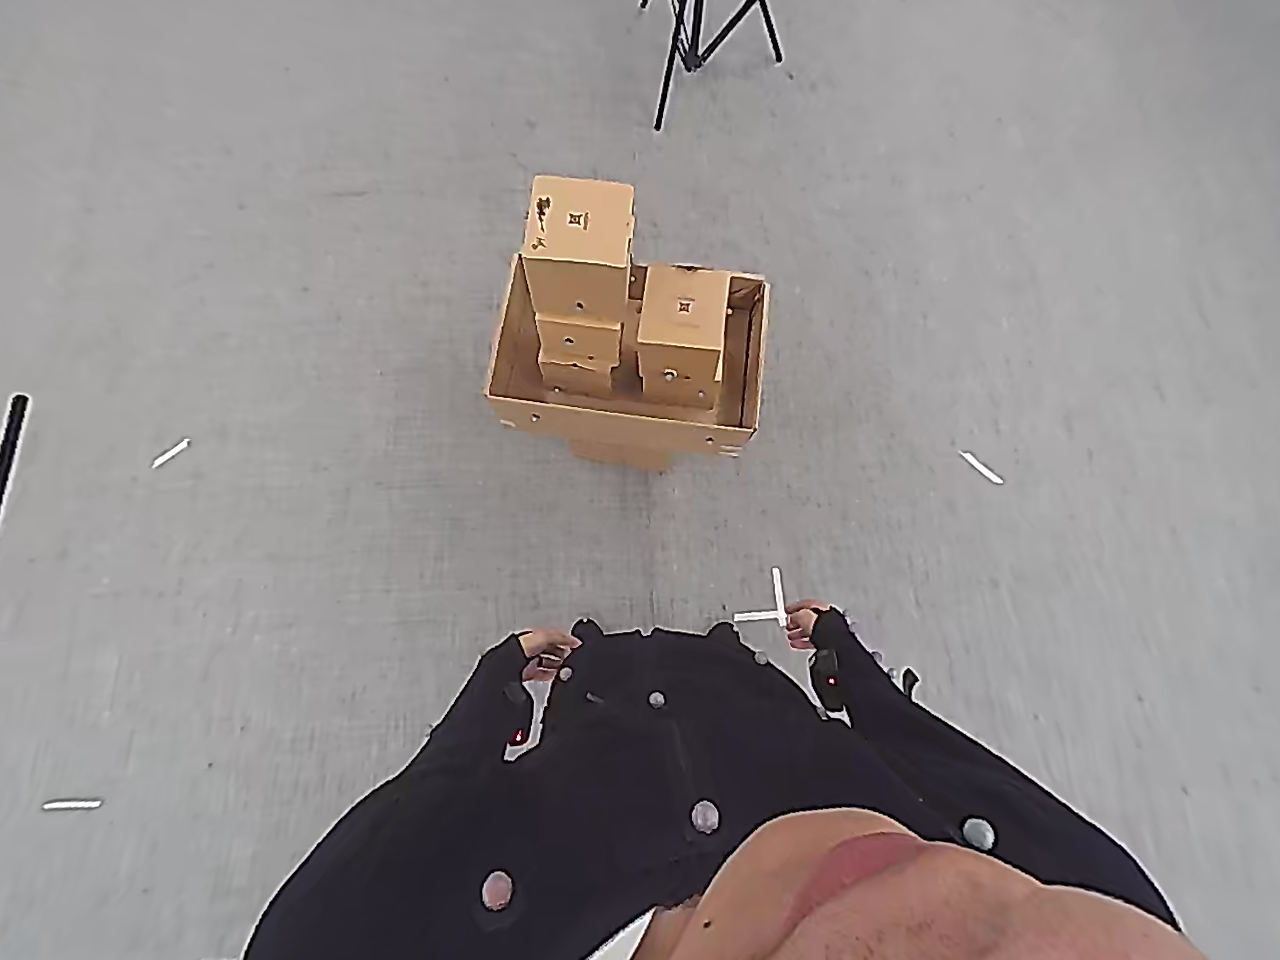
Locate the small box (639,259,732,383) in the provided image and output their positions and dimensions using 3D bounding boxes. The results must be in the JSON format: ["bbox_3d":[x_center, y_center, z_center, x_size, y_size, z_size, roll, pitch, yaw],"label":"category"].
[{"bbox_3d":[0.090,-0.323,1.120,0.168,0.176,0.179,7,76,4],"label":"small box"}]

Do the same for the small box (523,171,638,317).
[{"bbox_3d":[-0.102,-0.415,0.976,0.179,0.176,0.168,6,75,-2],"label":"small box"}]

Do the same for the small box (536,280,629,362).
[{"bbox_3d":[-0.112,-0.366,1.132,0.168,0.176,0.179,7,75,-2],"label":"small box"}]
